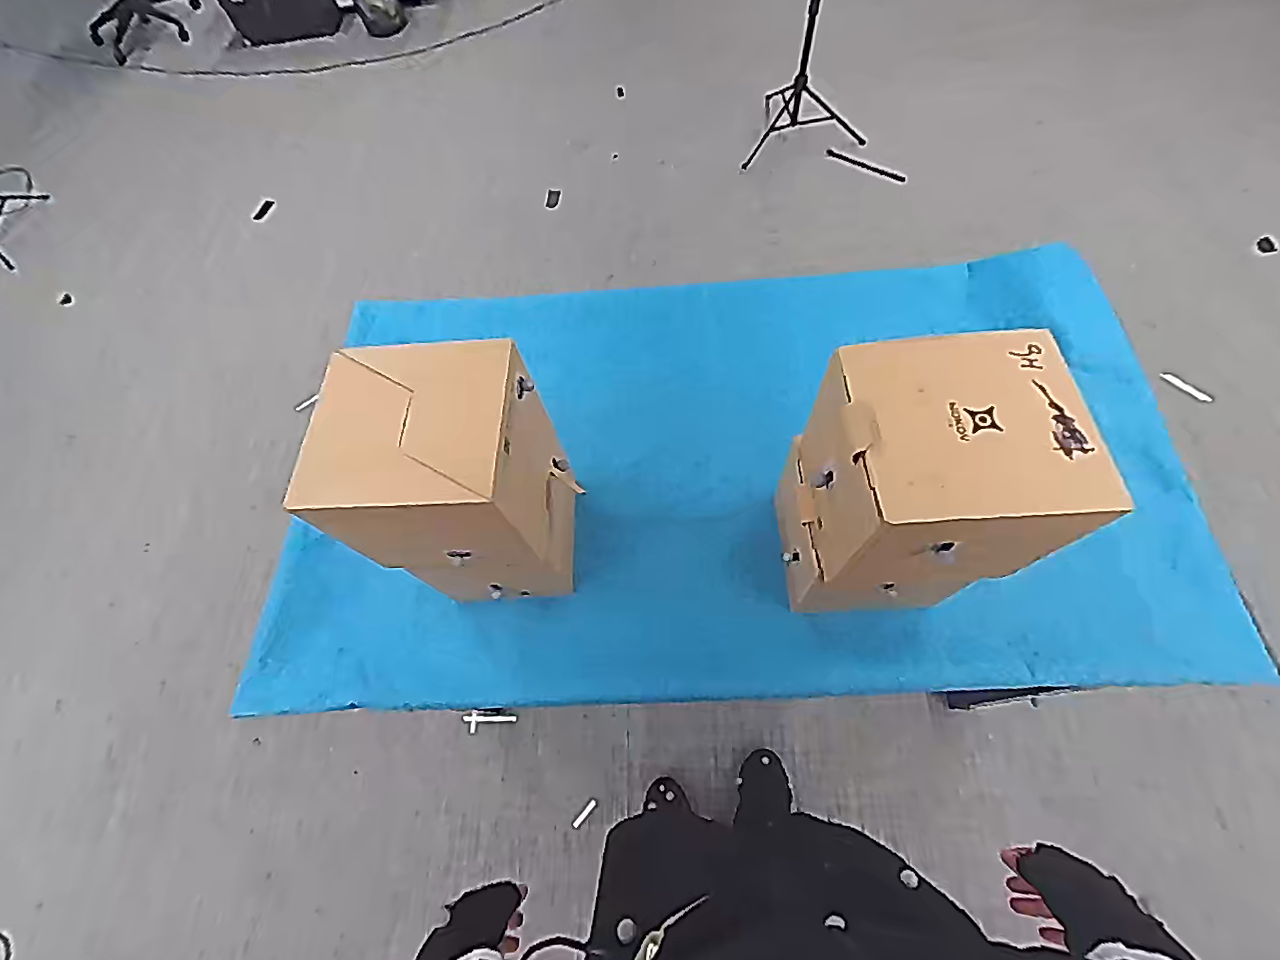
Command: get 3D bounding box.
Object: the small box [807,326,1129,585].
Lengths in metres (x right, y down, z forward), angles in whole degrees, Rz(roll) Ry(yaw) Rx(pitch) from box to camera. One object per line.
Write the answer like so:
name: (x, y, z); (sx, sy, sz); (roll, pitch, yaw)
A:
small box: (0.258, -0.010, 0.487); (0.179, 0.176, 0.168); (-7, 63, 3)

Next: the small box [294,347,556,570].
small box: (-0.193, -0.014, 0.539); (0.179, 0.176, 0.168); (-2, 64, 5)

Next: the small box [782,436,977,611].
small box: (0.268, 0.055, 0.636); (0.179, 0.176, 0.168); (-3, 64, 5)

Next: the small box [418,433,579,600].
small box: (-0.178, 0.048, 0.694); (0.168, 0.176, 0.179); (-2, 66, 7)
